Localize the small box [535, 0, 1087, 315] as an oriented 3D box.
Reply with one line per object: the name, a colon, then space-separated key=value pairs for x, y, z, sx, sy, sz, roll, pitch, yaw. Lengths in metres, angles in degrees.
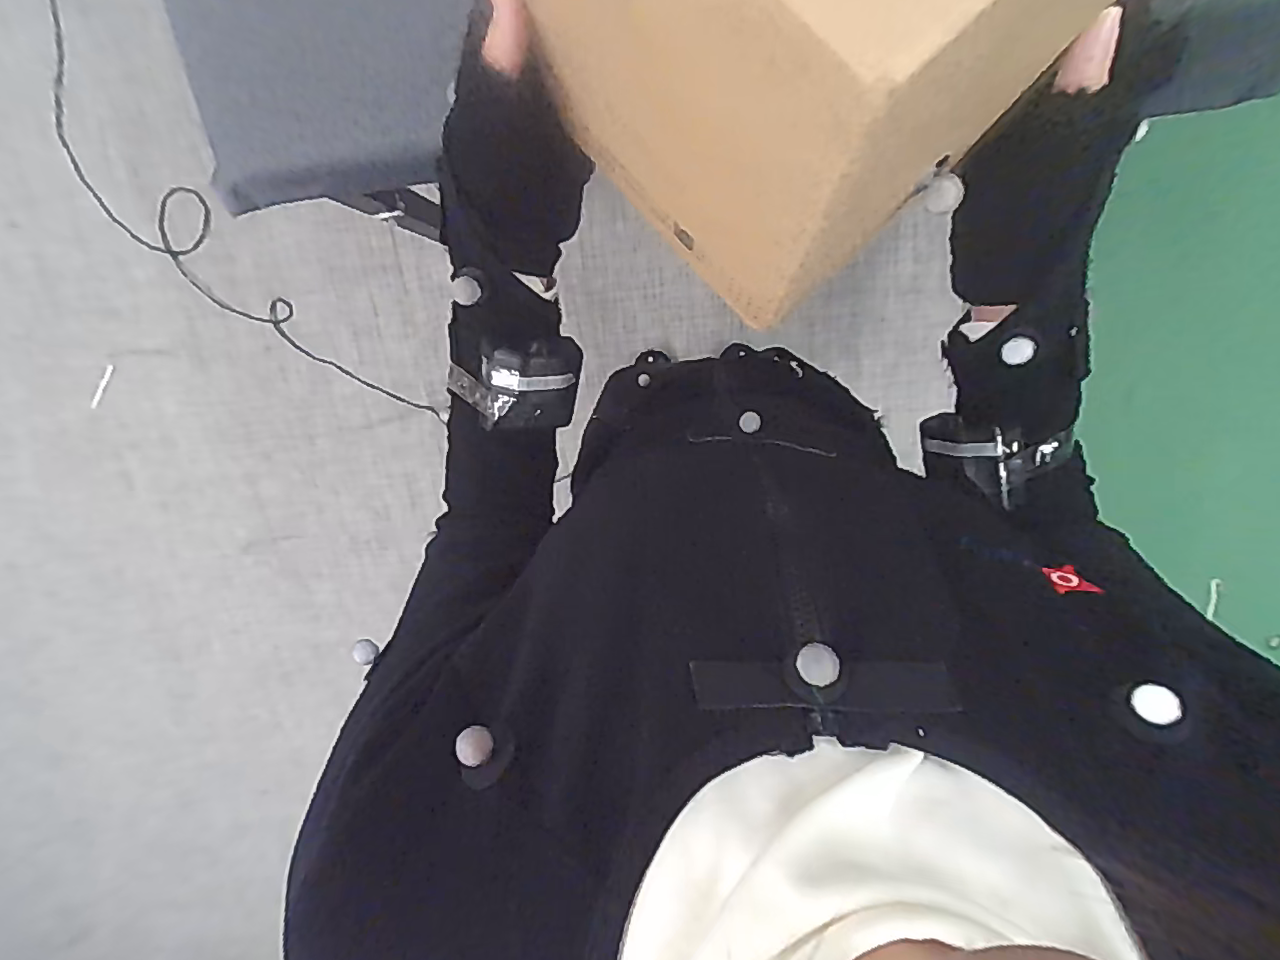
small box: x=0.066 y=-0.200 z=0.205 sx=0.179 sy=0.176 sz=0.168 roll=-42 pitch=85 yaw=0
